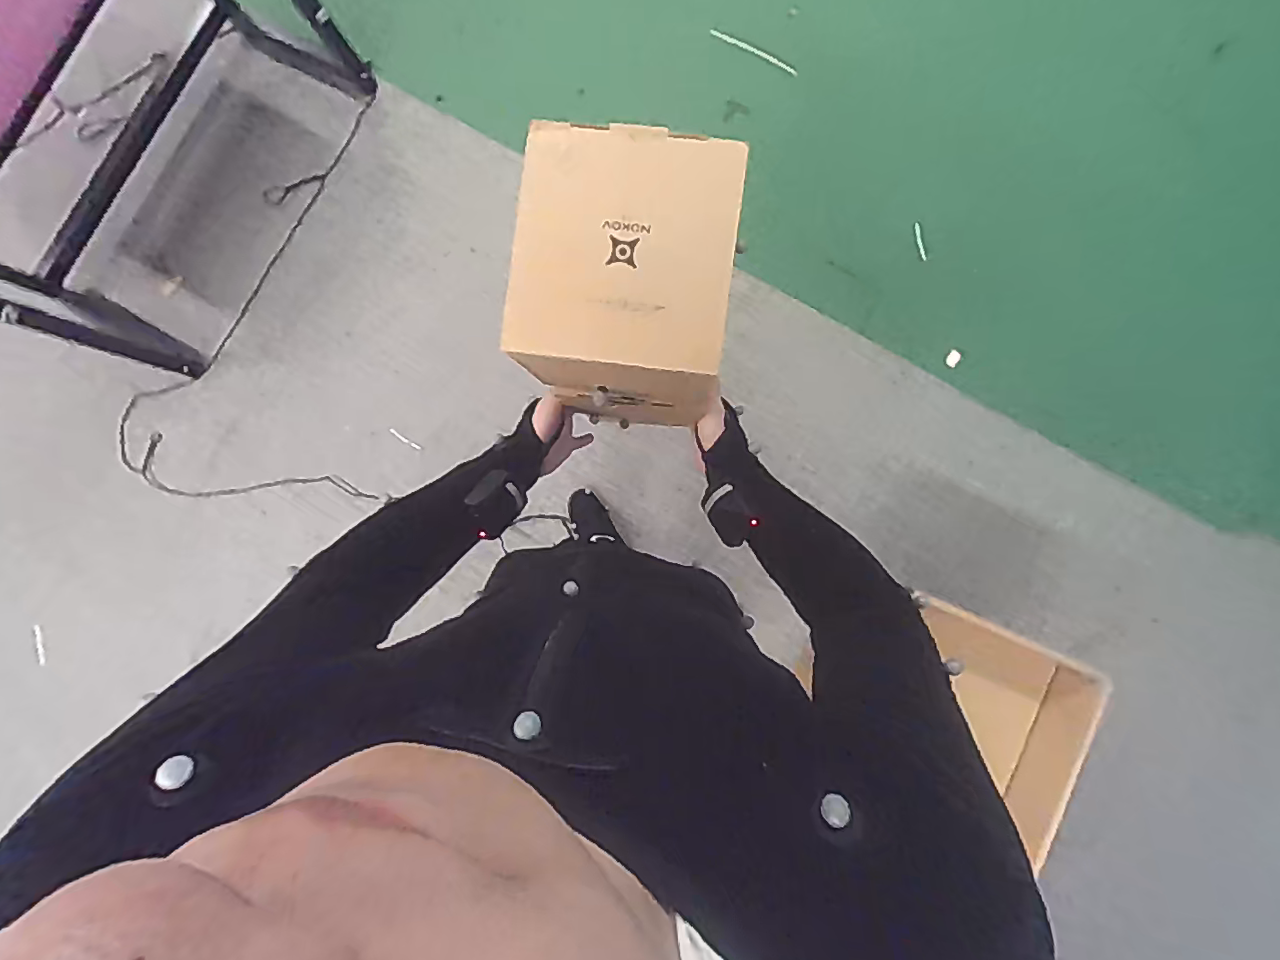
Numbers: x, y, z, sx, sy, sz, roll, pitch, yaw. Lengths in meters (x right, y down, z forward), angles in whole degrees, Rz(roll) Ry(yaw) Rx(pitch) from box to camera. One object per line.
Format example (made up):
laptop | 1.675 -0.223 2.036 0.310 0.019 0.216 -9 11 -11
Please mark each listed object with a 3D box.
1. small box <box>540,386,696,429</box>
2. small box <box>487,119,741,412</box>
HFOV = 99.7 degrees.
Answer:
small box | -0.011 -0.159 0.633 0.168 0.176 0.179 6 89 1
small box | -0.017 -0.165 0.469 0.168 0.176 0.179 8 90 2
